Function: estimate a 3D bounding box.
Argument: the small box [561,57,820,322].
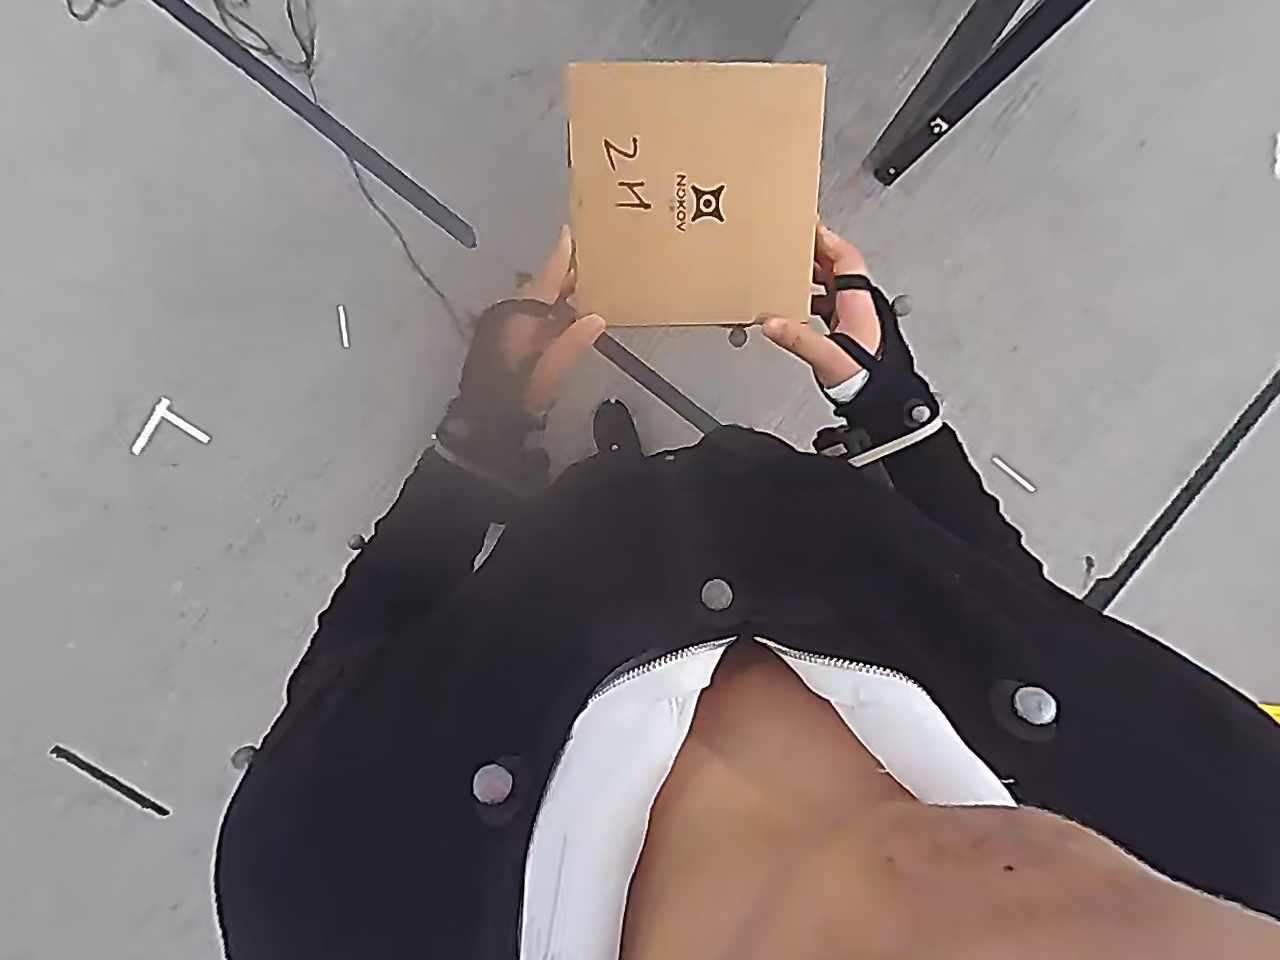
[{"bbox_3d":[0.030,-0.221,0.454,0.179,0.176,0.168,-2,106,-3],"label":"small box"}]
